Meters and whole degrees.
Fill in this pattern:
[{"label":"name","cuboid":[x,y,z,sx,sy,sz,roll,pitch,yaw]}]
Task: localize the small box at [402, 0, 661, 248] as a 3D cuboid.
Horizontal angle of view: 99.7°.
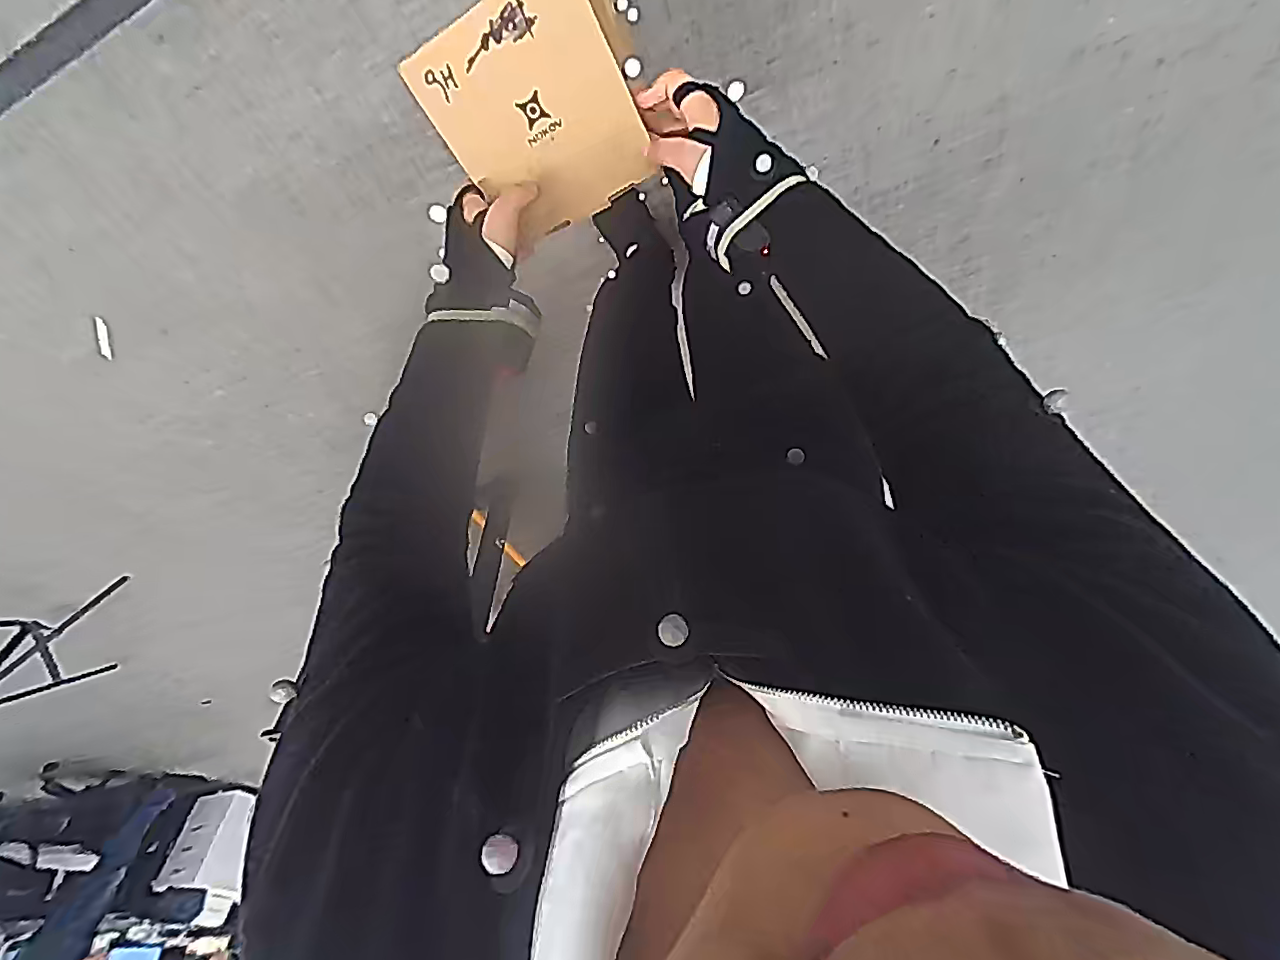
[{"label":"small box","cuboid":[-0.089,-0.374,0.531,0.168,0.176,0.179,-20,135,18]}]
